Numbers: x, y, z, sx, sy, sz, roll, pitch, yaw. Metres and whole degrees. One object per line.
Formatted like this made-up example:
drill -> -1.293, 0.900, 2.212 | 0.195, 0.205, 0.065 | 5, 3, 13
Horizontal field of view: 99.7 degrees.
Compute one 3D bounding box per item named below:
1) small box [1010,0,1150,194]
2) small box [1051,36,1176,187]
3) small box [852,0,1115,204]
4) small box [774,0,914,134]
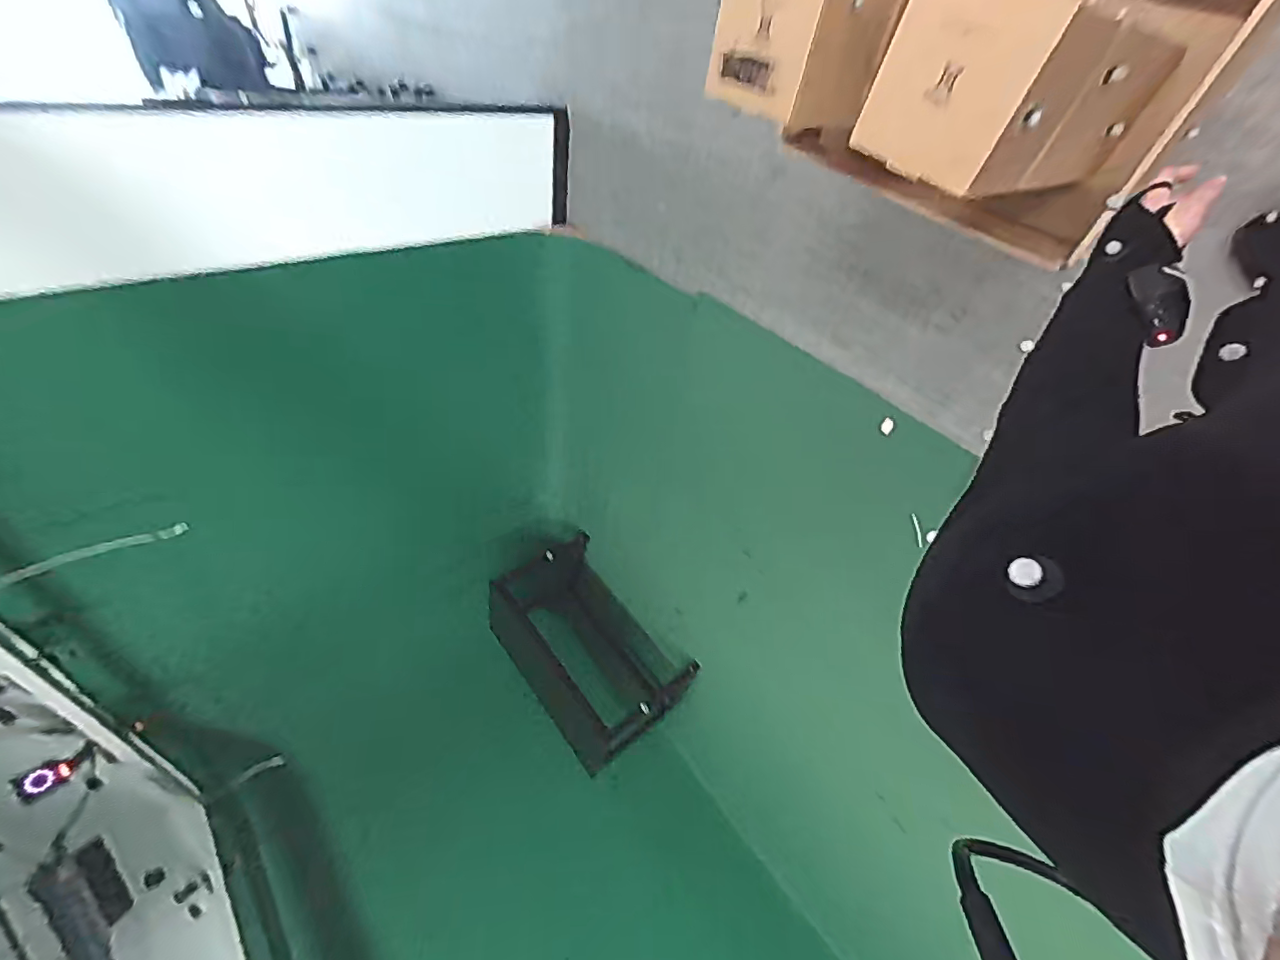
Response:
small box -> 0.518, -0.509, 0.717 | 0.168, 0.176, 0.179 | 47, 143, 26
small box -> 0.640, -0.568, 0.811 | 0.168, 0.176, 0.179 | 45, 143, 27
small box -> 0.393, -0.450, 0.630 | 0.168, 0.176, 0.179 | 46, 142, 25
small box -> 0.348, -0.670, 0.850 | 0.168, 0.176, 0.179 | 42, 142, 29
